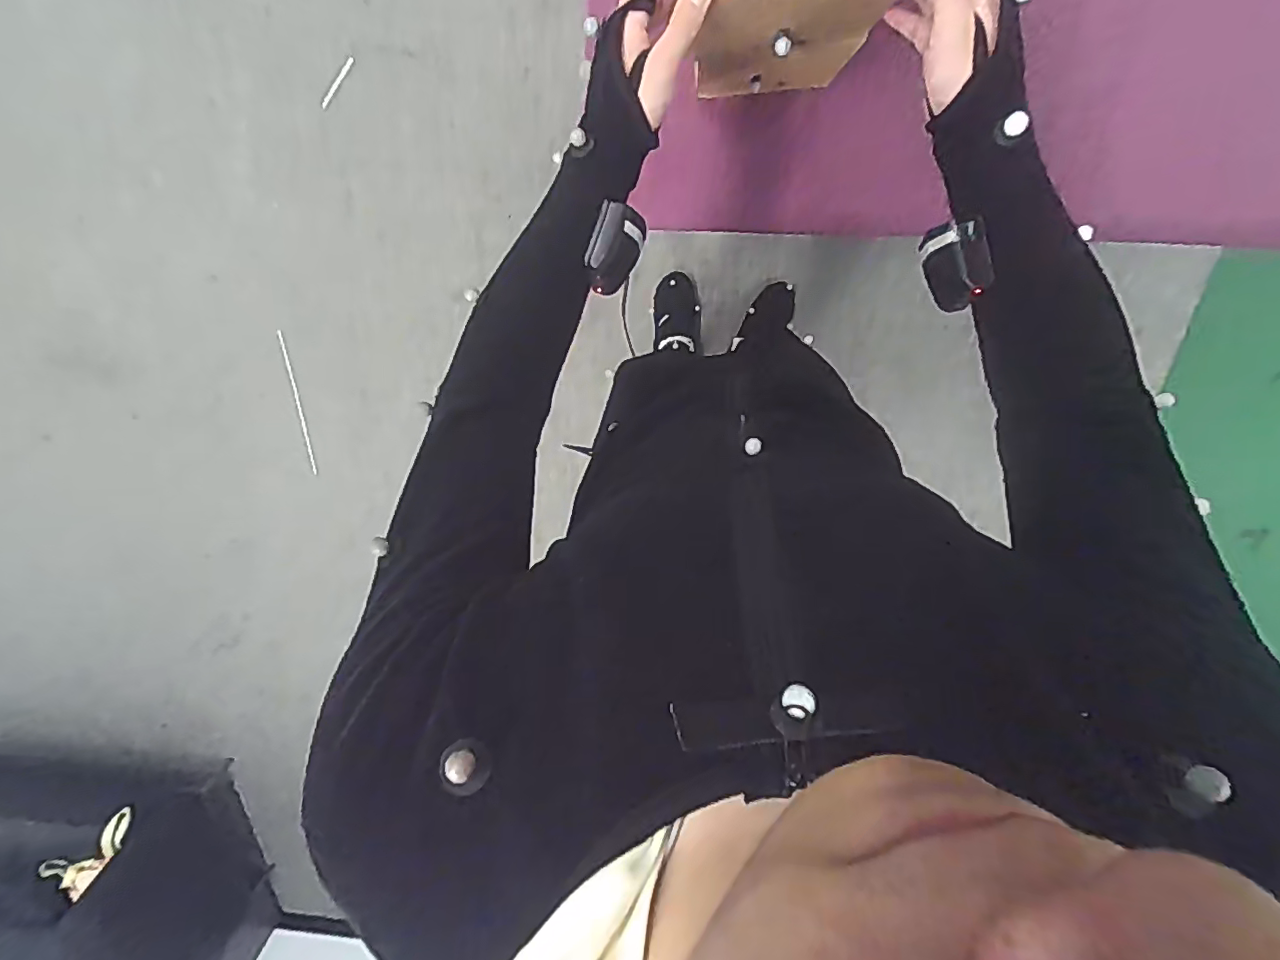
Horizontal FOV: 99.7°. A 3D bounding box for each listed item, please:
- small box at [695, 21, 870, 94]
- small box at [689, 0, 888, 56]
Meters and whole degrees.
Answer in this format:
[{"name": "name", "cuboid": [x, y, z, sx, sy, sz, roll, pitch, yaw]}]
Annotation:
[{"name": "small box", "cuboid": [0.141, -0.537, 0.569, 0.168, 0.176, 0.179, -2, 114, 6]}, {"name": "small box", "cuboid": [0.119, -0.470, 0.421, 0.168, 0.176, 0.179, -2, 114, 7]}]
